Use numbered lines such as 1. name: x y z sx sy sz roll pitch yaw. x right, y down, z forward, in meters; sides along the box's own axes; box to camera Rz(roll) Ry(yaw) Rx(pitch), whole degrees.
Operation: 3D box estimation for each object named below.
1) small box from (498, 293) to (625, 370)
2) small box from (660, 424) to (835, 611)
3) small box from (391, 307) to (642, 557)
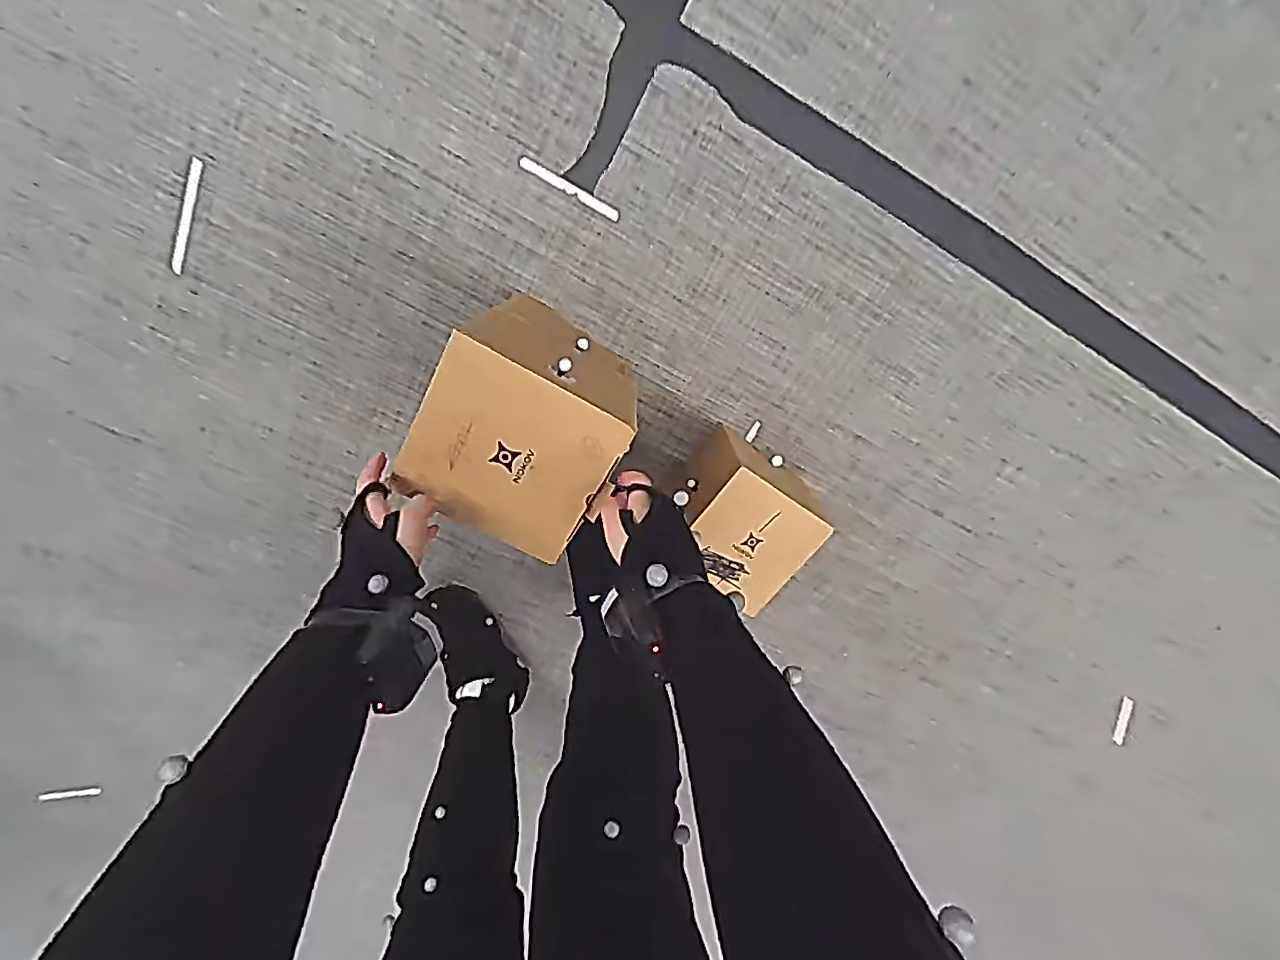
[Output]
1. small box: -0.130 -0.123 0.704 0.179 0.176 0.168 33 110 -16
2. small box: 0.143 0.048 0.789 0.168 0.176 0.179 33 109 -15
3. small box: -0.112 -0.059 0.554 0.179 0.176 0.168 29 111 -13
